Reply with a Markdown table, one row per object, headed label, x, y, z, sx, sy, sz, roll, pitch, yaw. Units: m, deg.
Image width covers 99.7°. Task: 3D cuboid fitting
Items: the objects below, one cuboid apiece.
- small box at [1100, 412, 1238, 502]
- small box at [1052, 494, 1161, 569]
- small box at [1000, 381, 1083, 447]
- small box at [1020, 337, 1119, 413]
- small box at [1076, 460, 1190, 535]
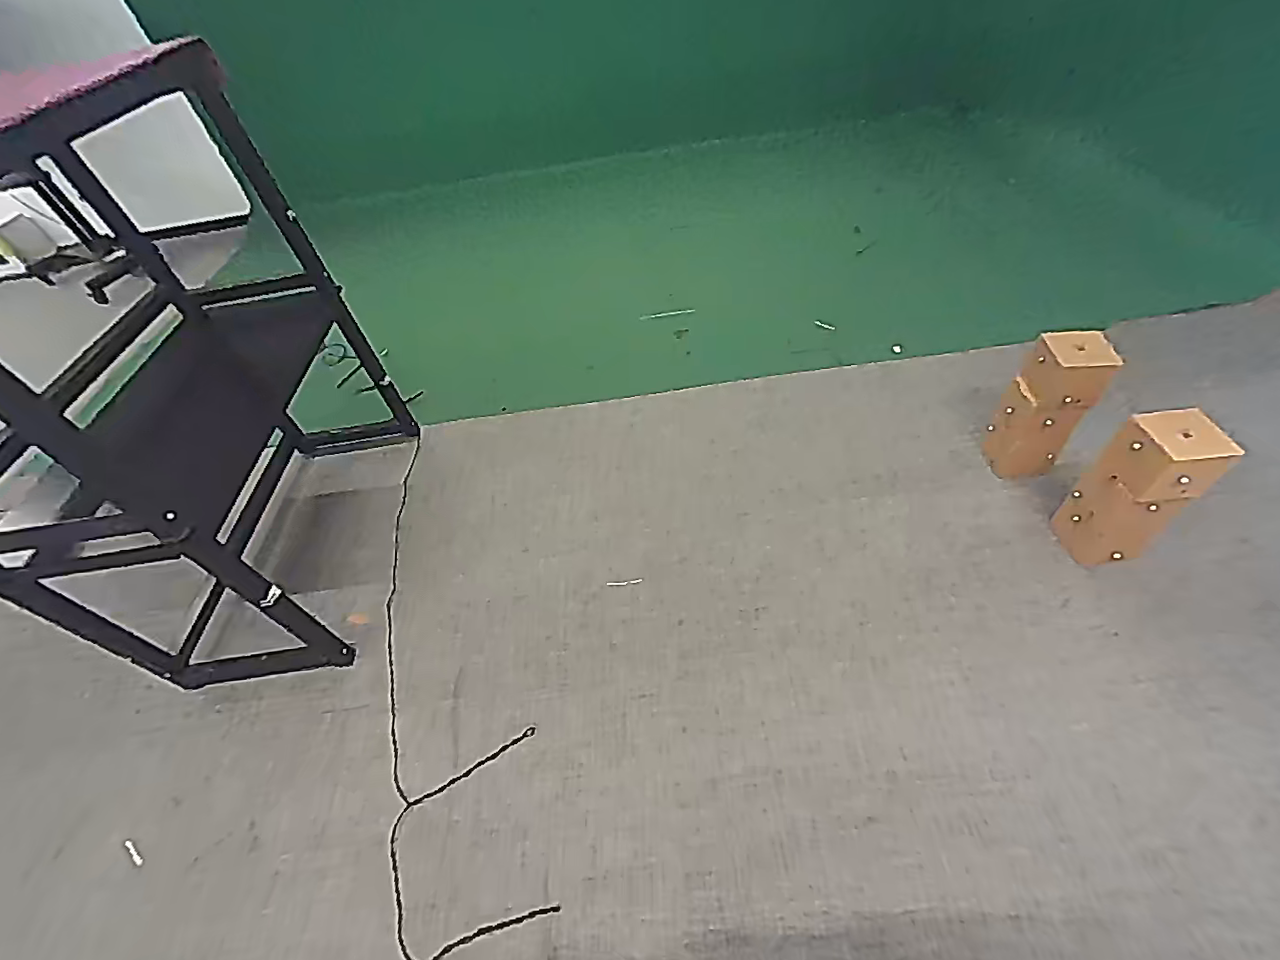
| label | x | y | z | sx | sy | sz | roll | pitch | yaw |
| --- | --- | --- | --- | --- | --- | --- | --- | --- | --- |
| small box | 1.405 | -0.054 | 1.452 | 0.168 | 0.176 | 0.179 | -6 | 47 | 4 |
| small box | 1.449 | 0.155 | 1.697 | 0.168 | 0.176 | 0.179 | -7 | 47 | 4 |
| small box | 1.362 | -0.228 | 1.843 | 0.179 | 0.176 | 0.168 | -4 | 49 | 8 |
| small box | 1.349 | -0.332 | 1.715 | 0.168 | 0.176 | 0.179 | 0 | 48 | 10 |
| small box | 1.424 | 0.048 | 1.576 | 0.179 | 0.176 | 0.168 | -6 | 47 | 4 |
